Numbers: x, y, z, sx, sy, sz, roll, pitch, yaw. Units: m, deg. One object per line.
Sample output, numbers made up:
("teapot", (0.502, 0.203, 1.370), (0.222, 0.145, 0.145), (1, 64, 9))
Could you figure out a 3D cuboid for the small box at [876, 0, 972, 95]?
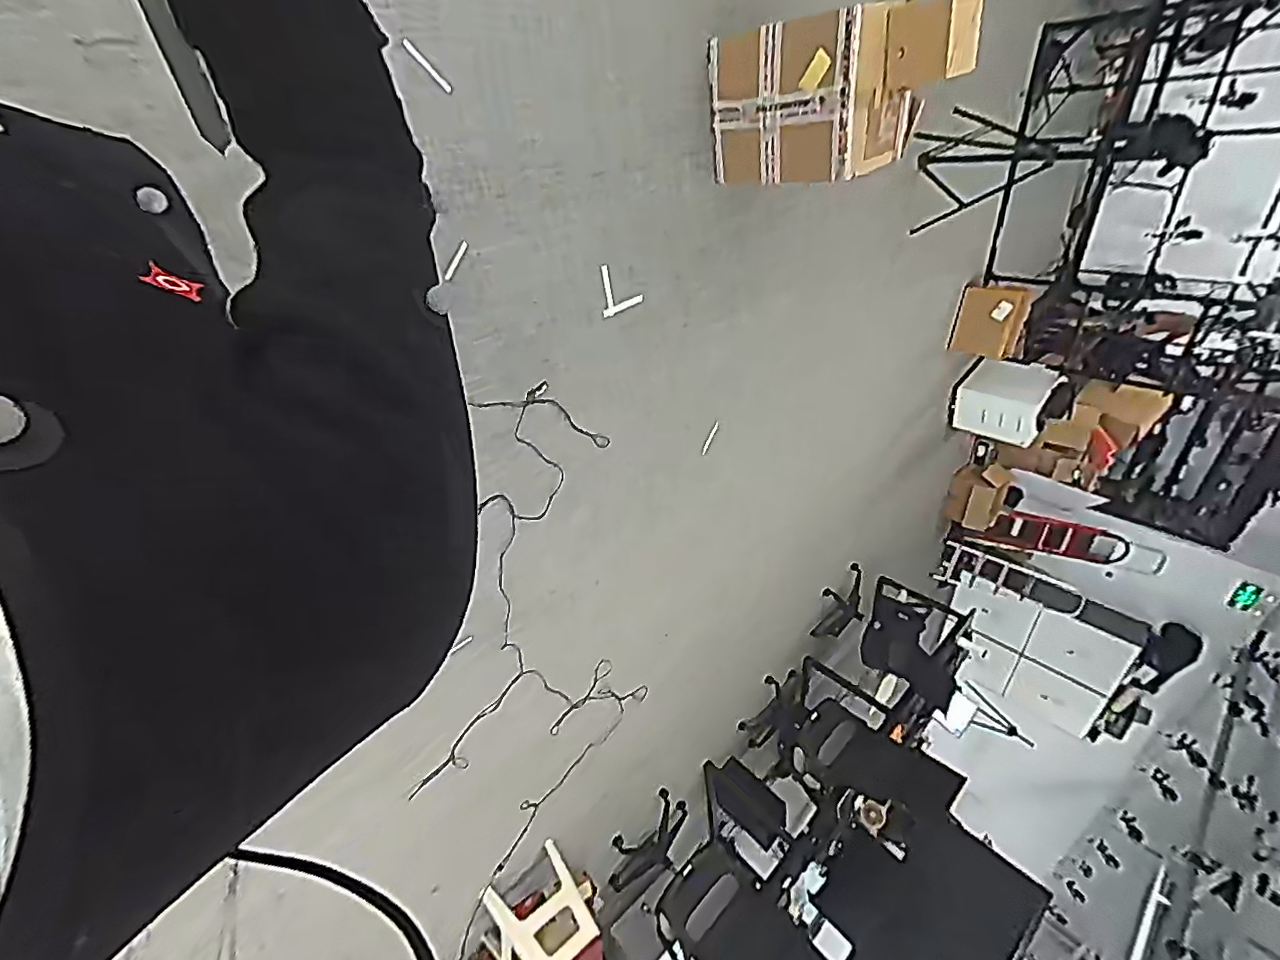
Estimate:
("small box", (0.755, -1.158, 1.443), (0.168, 0.176, 0.179), (-33, 129, -28))
